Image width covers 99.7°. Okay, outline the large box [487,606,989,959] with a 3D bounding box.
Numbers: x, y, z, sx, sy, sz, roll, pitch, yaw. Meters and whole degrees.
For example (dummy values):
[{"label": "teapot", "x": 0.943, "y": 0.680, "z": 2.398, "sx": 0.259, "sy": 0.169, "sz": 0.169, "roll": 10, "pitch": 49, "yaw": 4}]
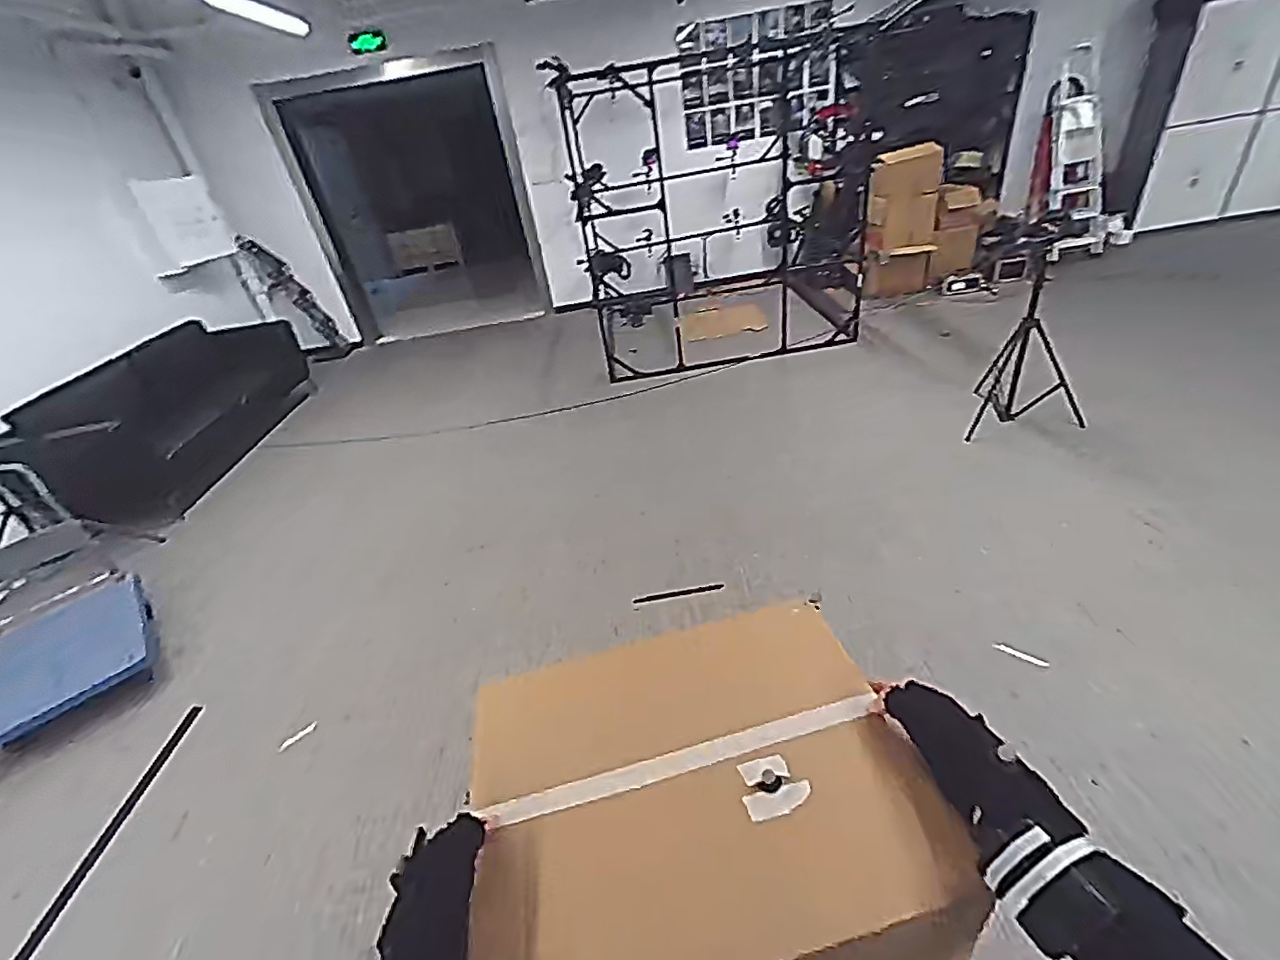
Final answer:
[{"label": "large box", "x": 0.073, "y": 0.400, "z": 0.599, "sx": 0.408, "sy": 0.320, "sz": 0.320, "roll": -13, "pitch": 32, "yaw": -5}]
